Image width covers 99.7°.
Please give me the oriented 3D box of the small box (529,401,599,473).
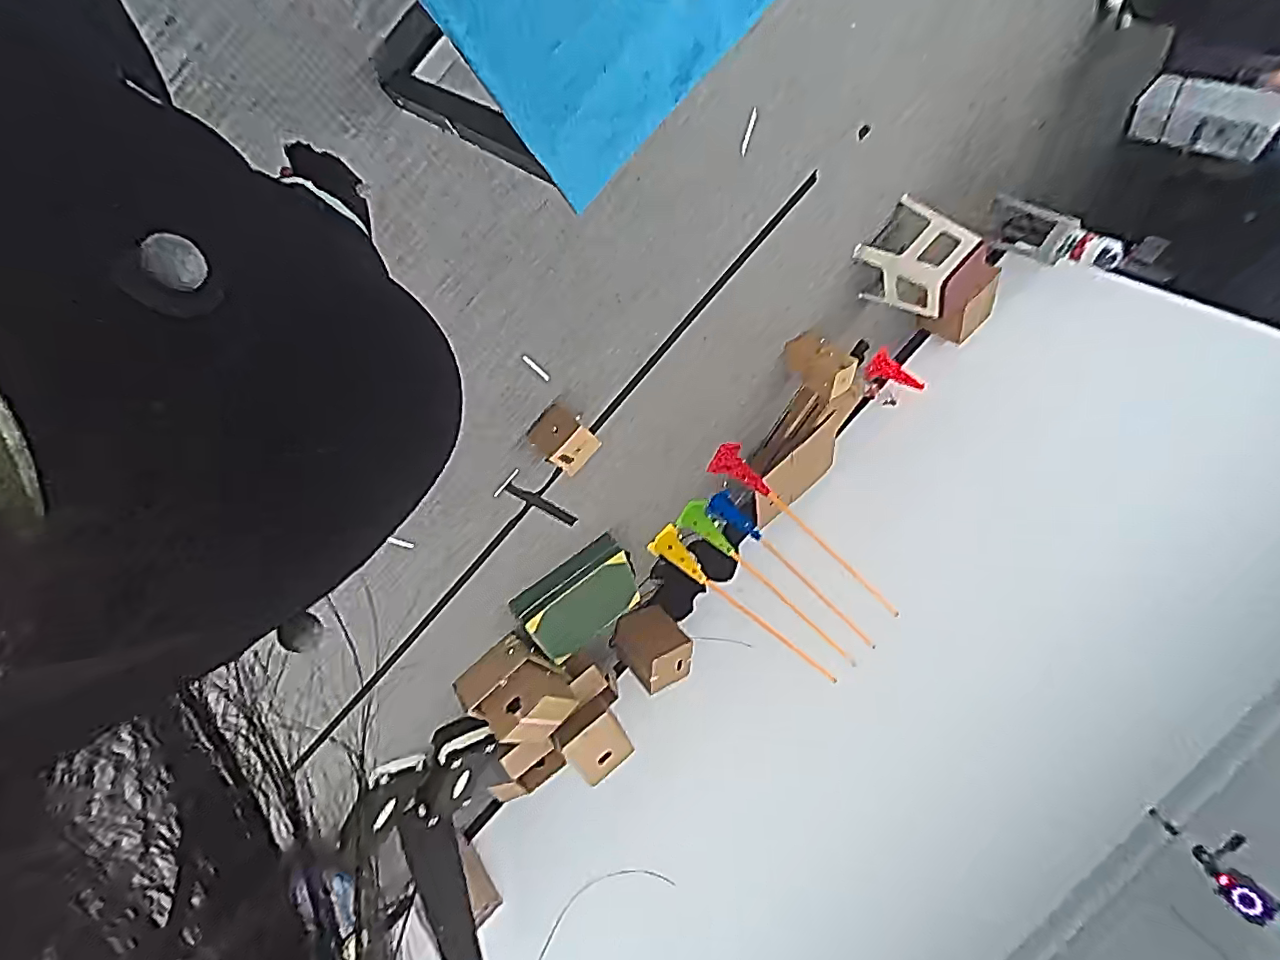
[{"bbox_3d":[-0.296,-0.163,2.051,0.179,0.176,0.168,-48,148,0],"label":"small box"}]
